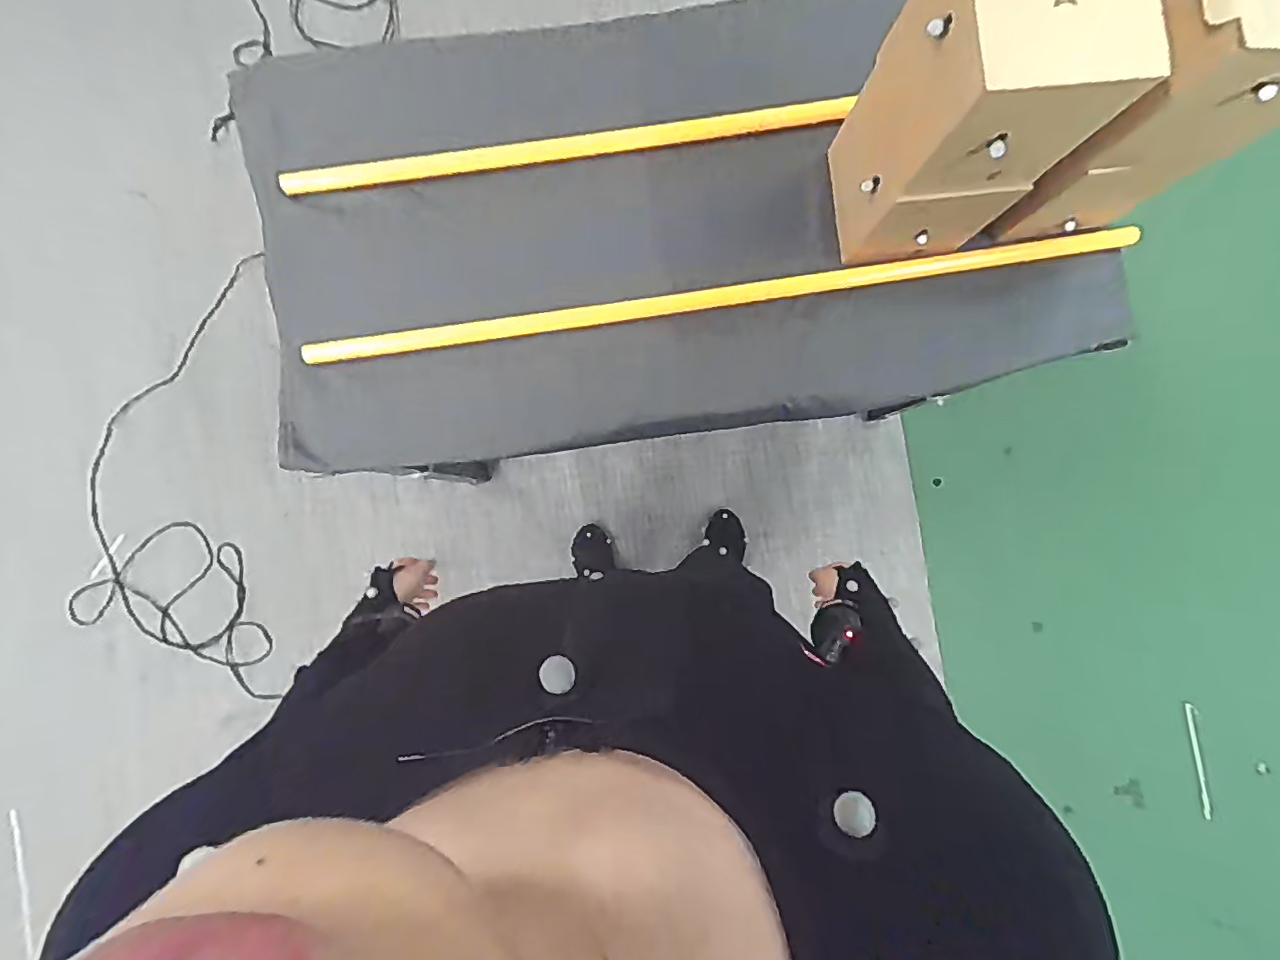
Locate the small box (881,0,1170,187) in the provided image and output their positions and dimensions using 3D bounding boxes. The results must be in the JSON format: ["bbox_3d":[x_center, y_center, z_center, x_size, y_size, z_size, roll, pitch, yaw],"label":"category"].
[{"bbox_3d":[0.367,-0.423,0.548,0.168,0.176,0.179,-6,87,0],"label":"small box"}]

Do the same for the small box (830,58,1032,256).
[{"bbox_3d":[0.366,-0.412,0.710,0.168,0.176,0.179,-6,87,-2],"label":"small box"}]

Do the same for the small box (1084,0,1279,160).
[{"bbox_3d":[0.595,-0.455,0.550,0.179,0.176,0.168,-4,88,-2],"label":"small box"}]
